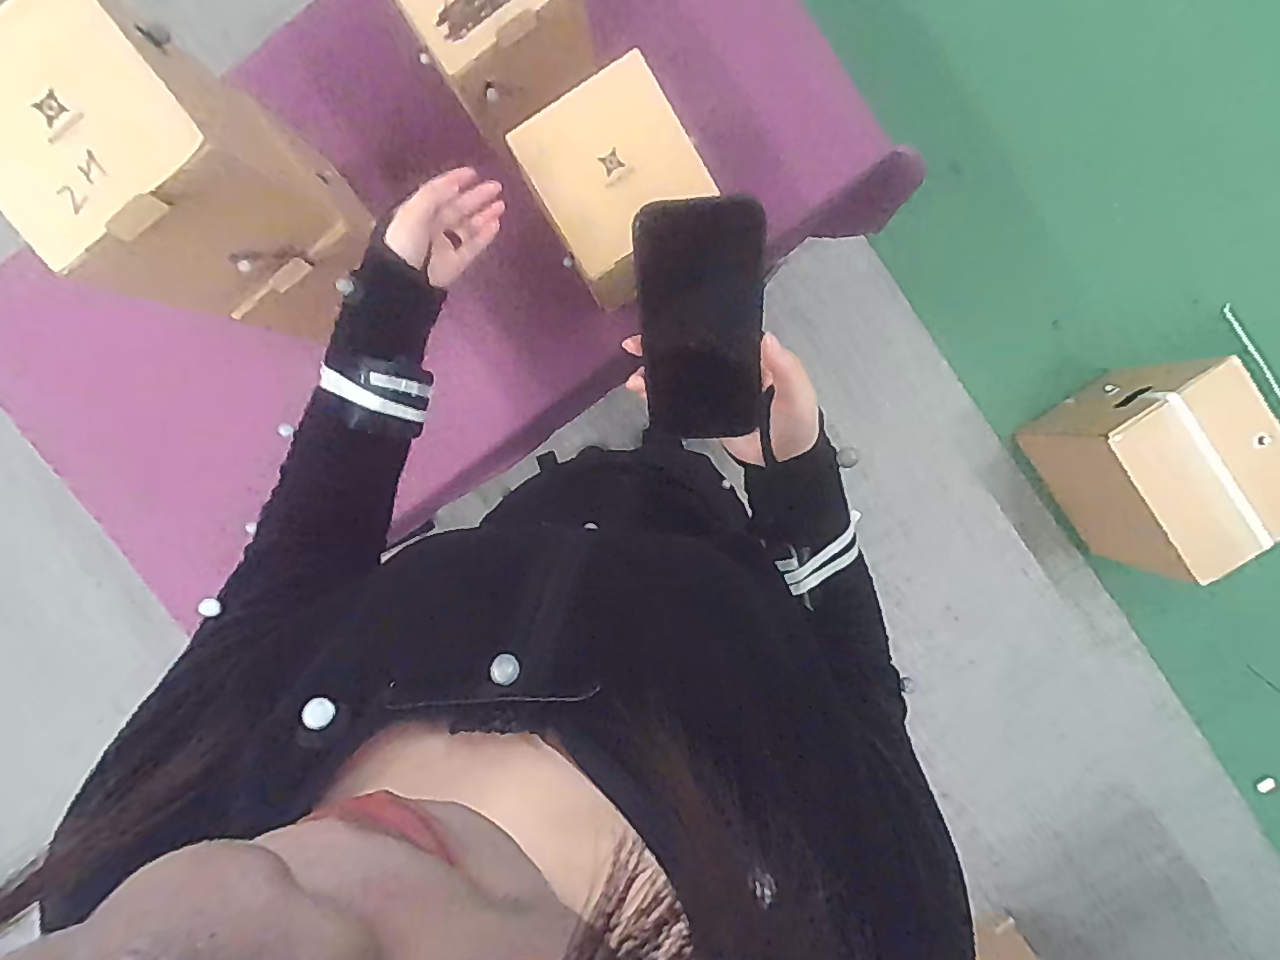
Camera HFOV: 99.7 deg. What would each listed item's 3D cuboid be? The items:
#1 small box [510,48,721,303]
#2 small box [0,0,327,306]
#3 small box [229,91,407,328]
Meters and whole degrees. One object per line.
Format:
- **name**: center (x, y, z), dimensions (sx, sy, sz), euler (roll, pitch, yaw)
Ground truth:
- **small box**: center (-0.025, -0.340, 0.645), dimensions (0.168, 0.176, 0.179), euler (-31, 95, 5)
- **small box**: center (-0.444, -0.289, 0.496), dimensions (0.168, 0.176, 0.179), euler (-37, 94, 5)
- **small box**: center (-0.426, -0.304, 0.660), dimensions (0.168, 0.176, 0.179), euler (-36, 93, 4)
